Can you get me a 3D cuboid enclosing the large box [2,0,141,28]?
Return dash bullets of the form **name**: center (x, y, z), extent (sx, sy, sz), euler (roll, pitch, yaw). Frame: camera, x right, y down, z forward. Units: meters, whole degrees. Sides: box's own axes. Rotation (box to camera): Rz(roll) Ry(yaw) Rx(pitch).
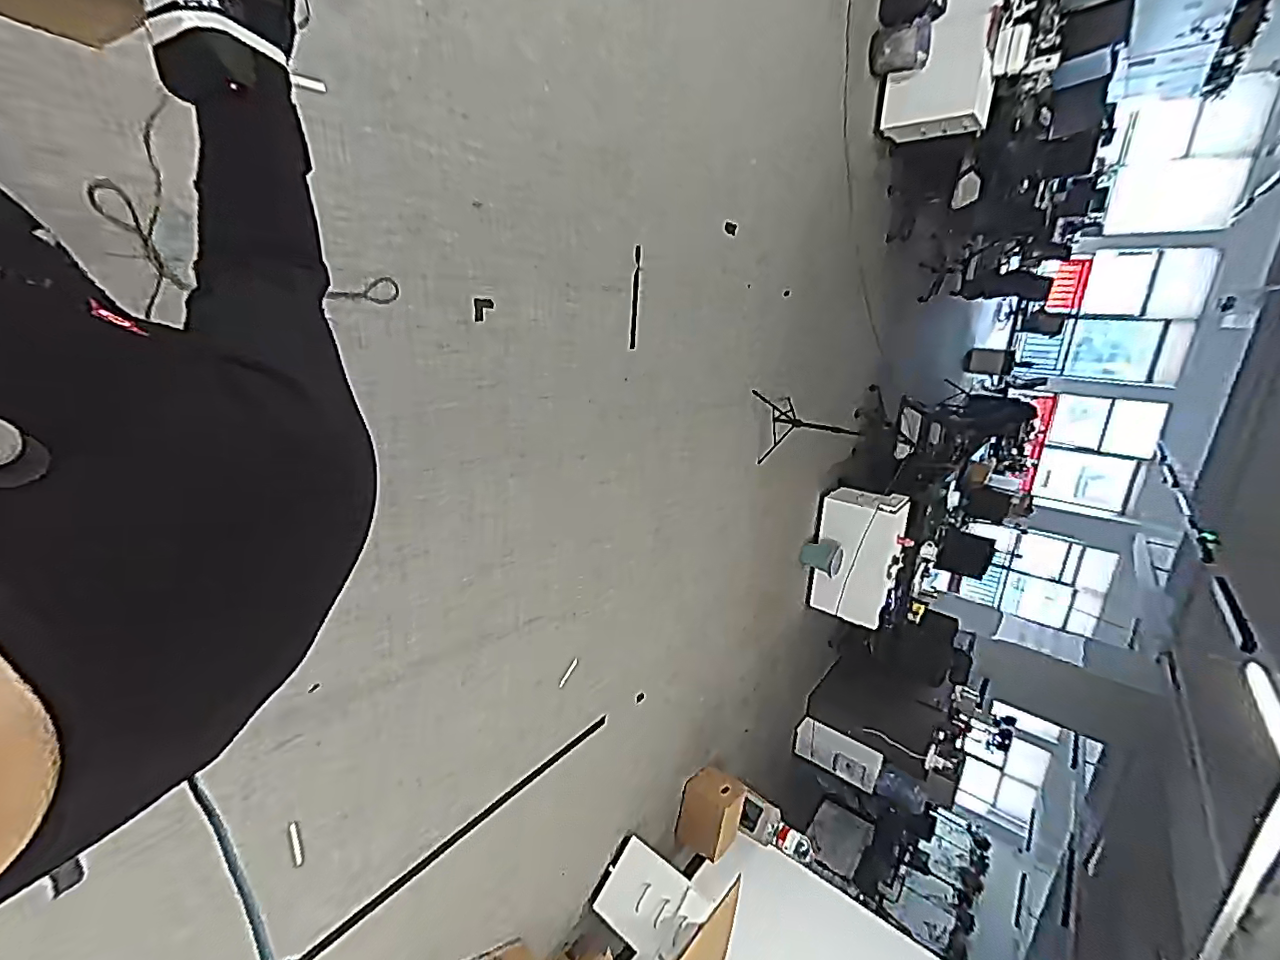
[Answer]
- **large box**: center (-0.530, -0.513, 0.263), extent (0.408, 0.320, 0.320), euler (-14, 121, -52)
